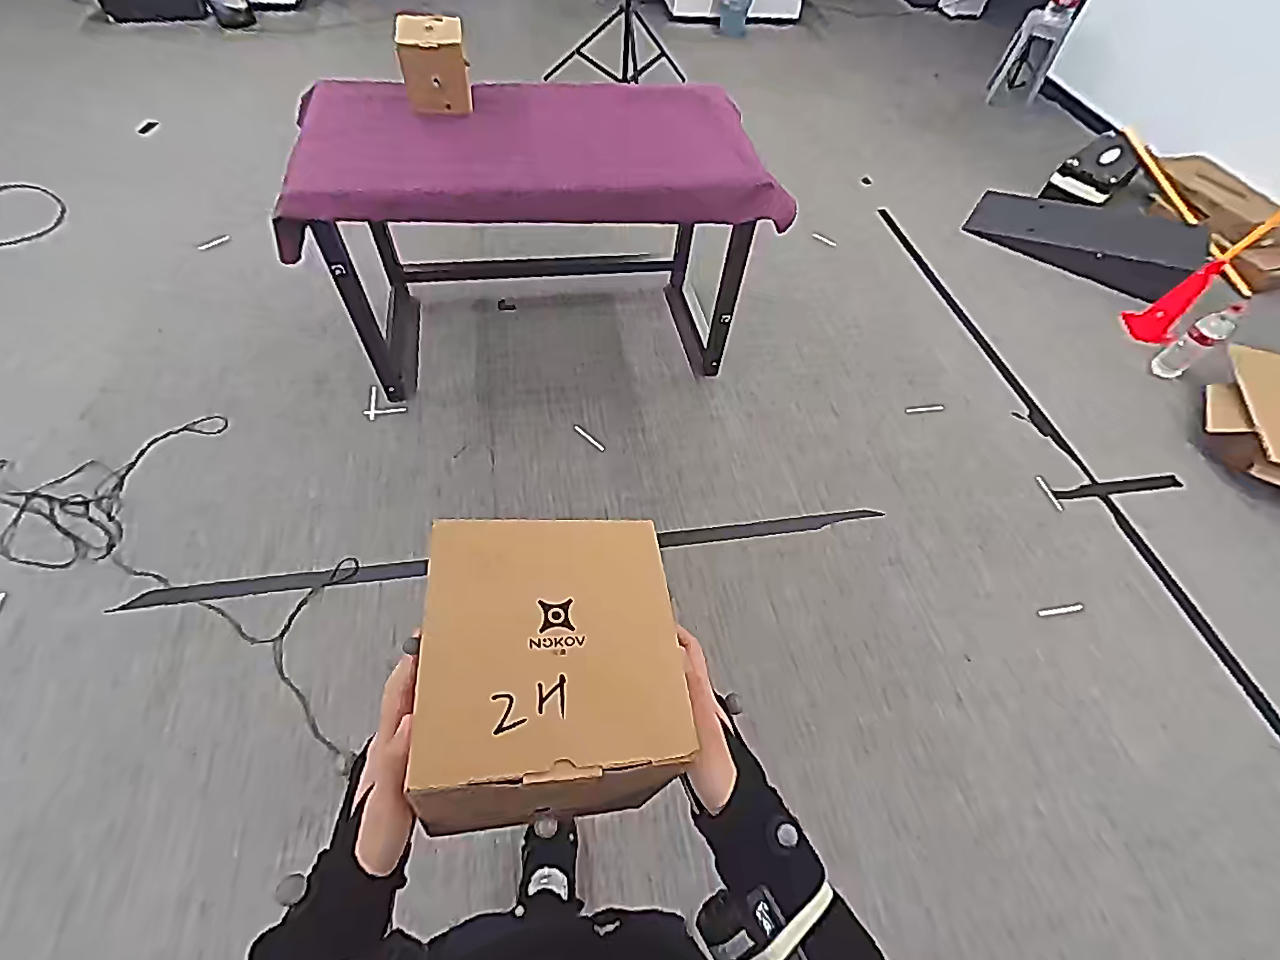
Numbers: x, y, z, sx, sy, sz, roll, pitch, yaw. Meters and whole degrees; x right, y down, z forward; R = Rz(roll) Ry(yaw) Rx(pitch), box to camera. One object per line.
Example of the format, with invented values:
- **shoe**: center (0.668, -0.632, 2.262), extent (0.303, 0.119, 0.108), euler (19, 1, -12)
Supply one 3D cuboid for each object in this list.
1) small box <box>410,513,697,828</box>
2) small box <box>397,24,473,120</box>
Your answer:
- **small box**: center (-0.073, 0.144, 0.416), extent (0.168, 0.176, 0.179), euler (1, 51, -15)
- **small box**: center (-0.562, -1.129, 1.501), extent (0.168, 0.176, 0.179), euler (-7, 59, -10)
